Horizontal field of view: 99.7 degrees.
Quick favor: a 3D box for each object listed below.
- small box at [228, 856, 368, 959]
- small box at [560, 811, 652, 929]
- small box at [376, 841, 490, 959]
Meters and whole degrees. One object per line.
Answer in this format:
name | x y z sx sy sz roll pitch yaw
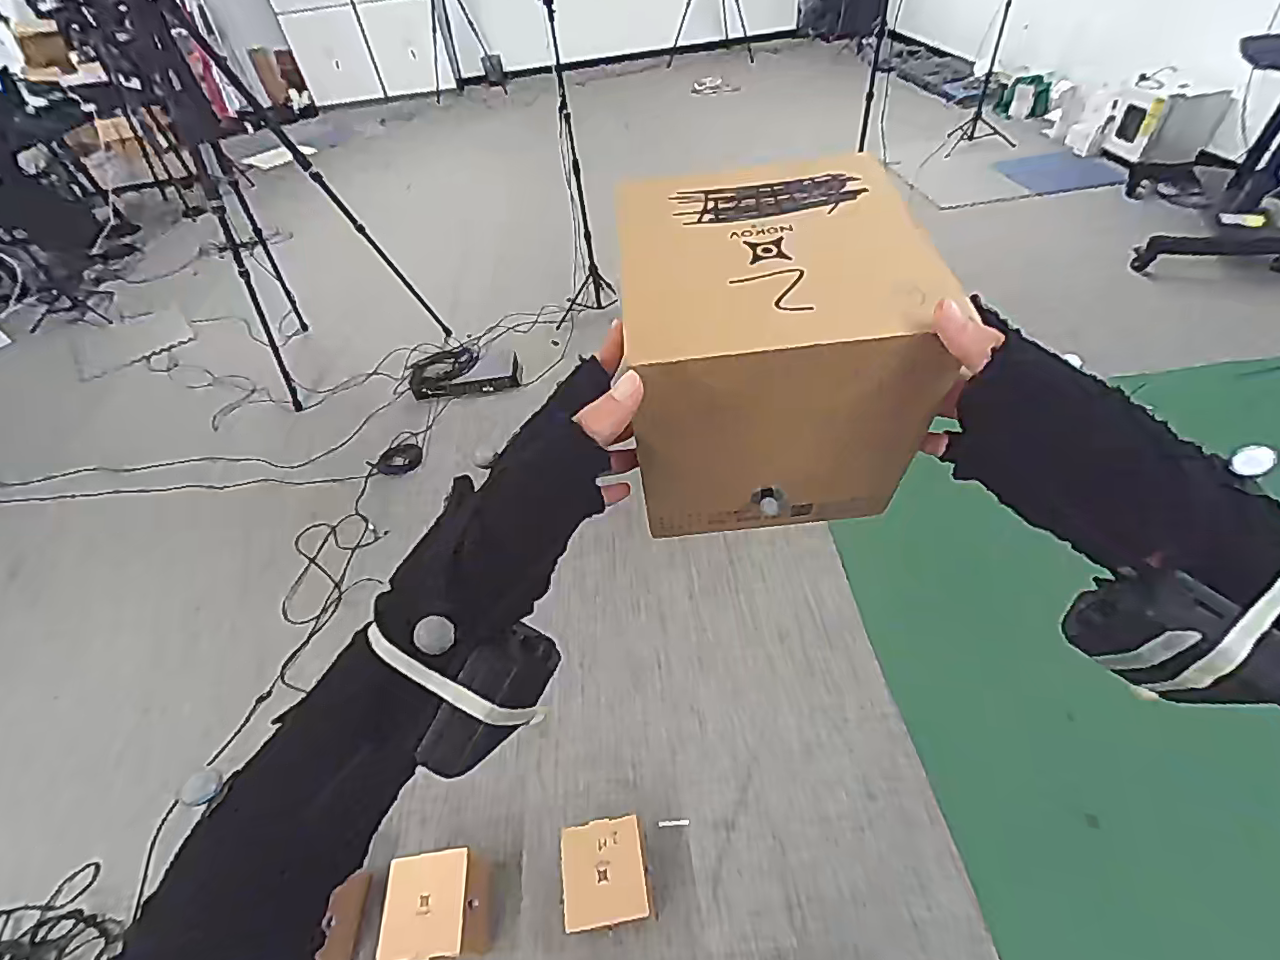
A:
small box | -0.715 0.926 1.156 0.168 0.176 0.179 -5 46 3
small box | -0.071 0.836 1.153 0.168 0.176 0.179 -10 47 -2
small box | -0.426 0.896 1.147 0.168 0.176 0.179 -9 48 -1
